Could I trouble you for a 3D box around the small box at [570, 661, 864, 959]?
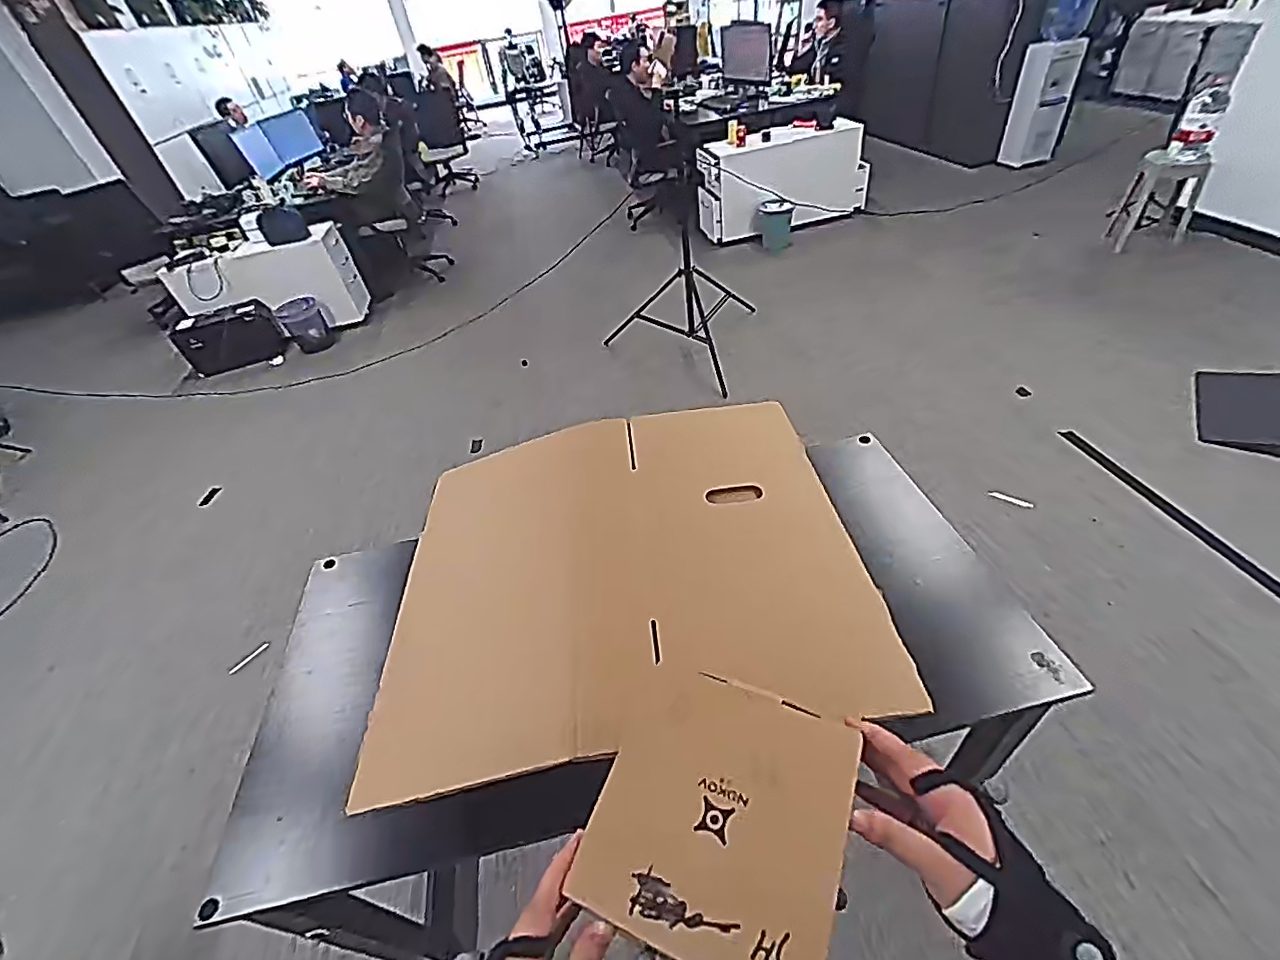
[{"bbox_3d":[0.069,0.285,0.435,0.168,0.176,0.179,13,49,22],"label":"small box"}]
